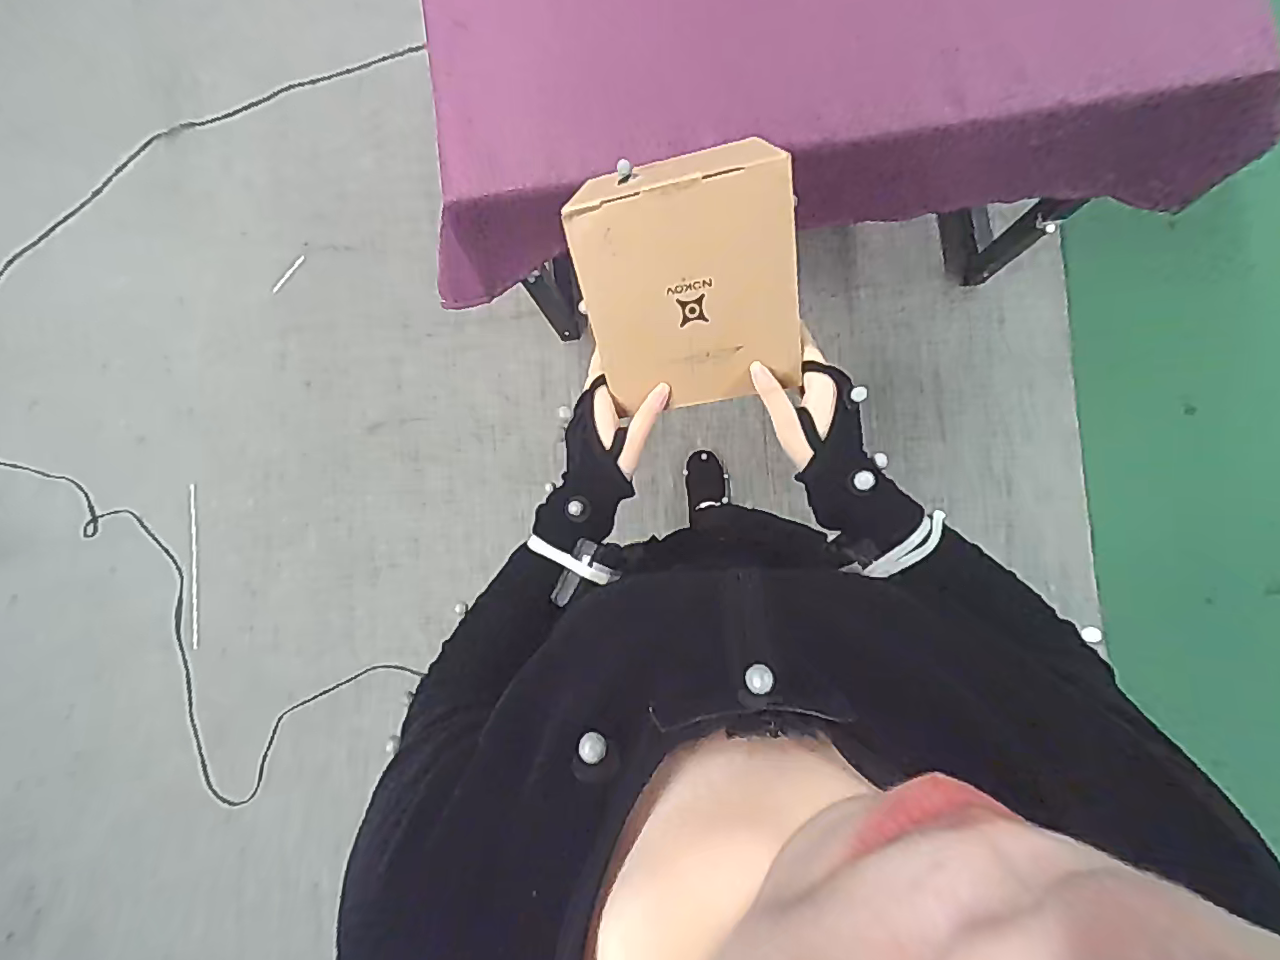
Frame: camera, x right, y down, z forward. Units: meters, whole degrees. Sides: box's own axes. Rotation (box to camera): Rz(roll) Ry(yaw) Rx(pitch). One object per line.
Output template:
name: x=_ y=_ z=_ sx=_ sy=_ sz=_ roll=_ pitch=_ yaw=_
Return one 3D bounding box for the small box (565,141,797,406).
small box: x=0.042 y=-0.193 z=0.492 sx=0.168 sy=0.176 sz=0.179 roll=-8 pitch=126 yaw=9
